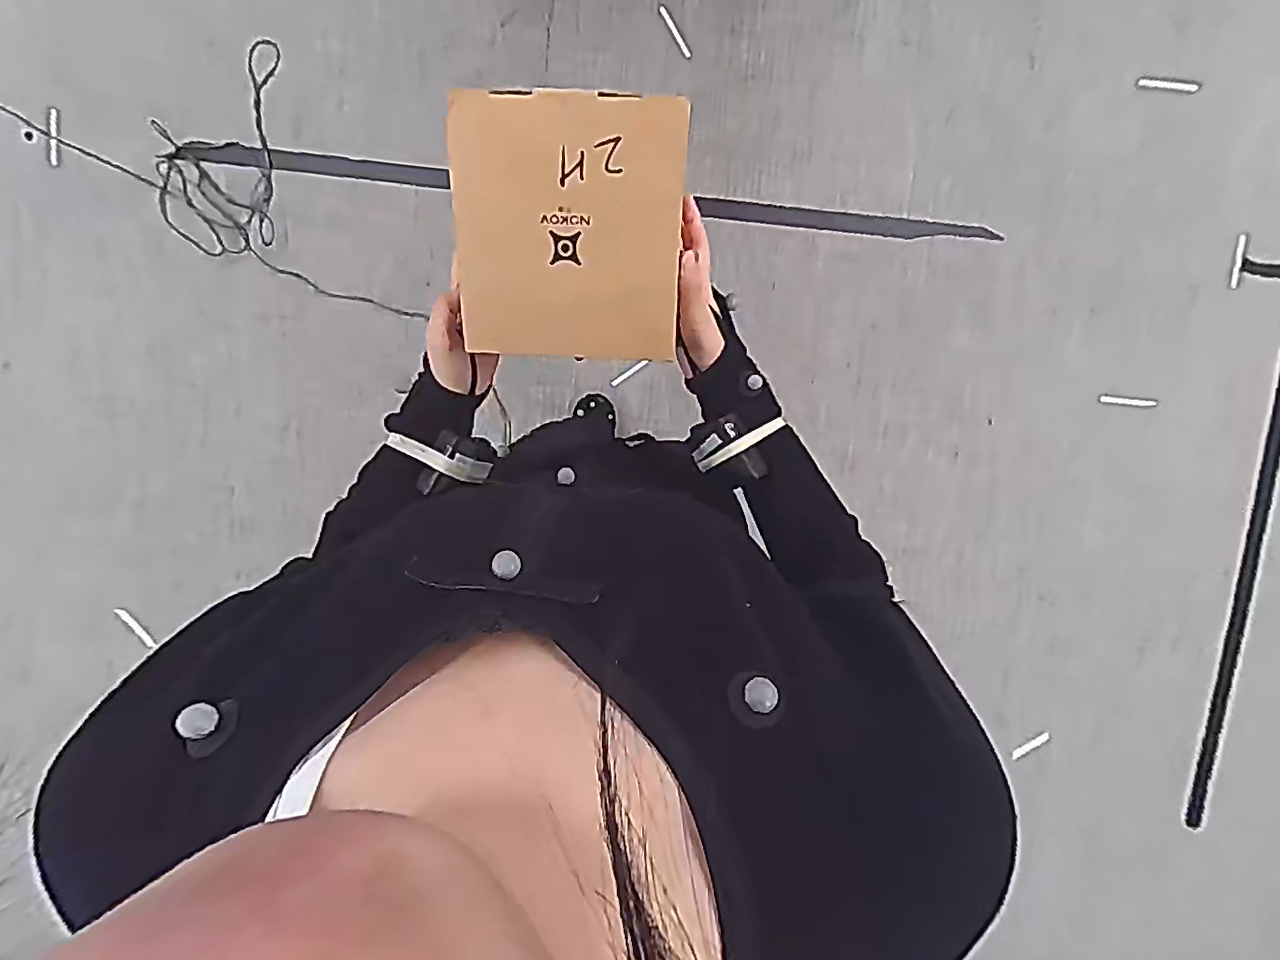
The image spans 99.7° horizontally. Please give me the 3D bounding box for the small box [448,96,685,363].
[{"bbox_3d":[-0.049,-0.206,0.471,0.168,0.176,0.179,3,111,2],"label":"small box"}]
